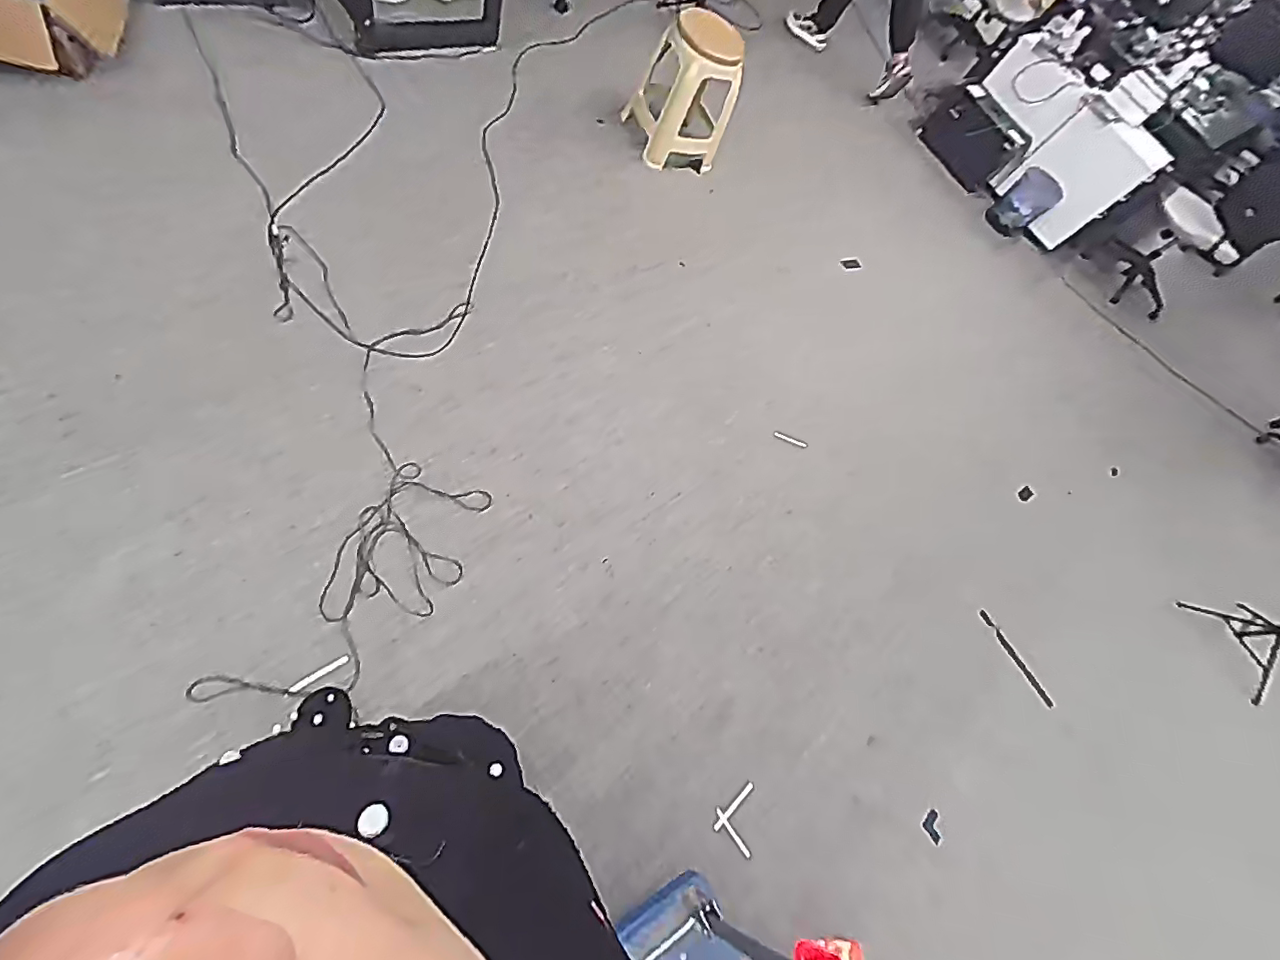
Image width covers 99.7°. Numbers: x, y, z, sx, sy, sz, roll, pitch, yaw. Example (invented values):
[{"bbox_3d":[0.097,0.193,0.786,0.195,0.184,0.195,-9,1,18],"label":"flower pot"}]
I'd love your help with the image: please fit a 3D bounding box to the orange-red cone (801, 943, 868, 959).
[{"bbox_3d":[0.525,1.179,1.149,0.198,0.360,0.199,16,64,-14],"label":"orange-red cone"}]
